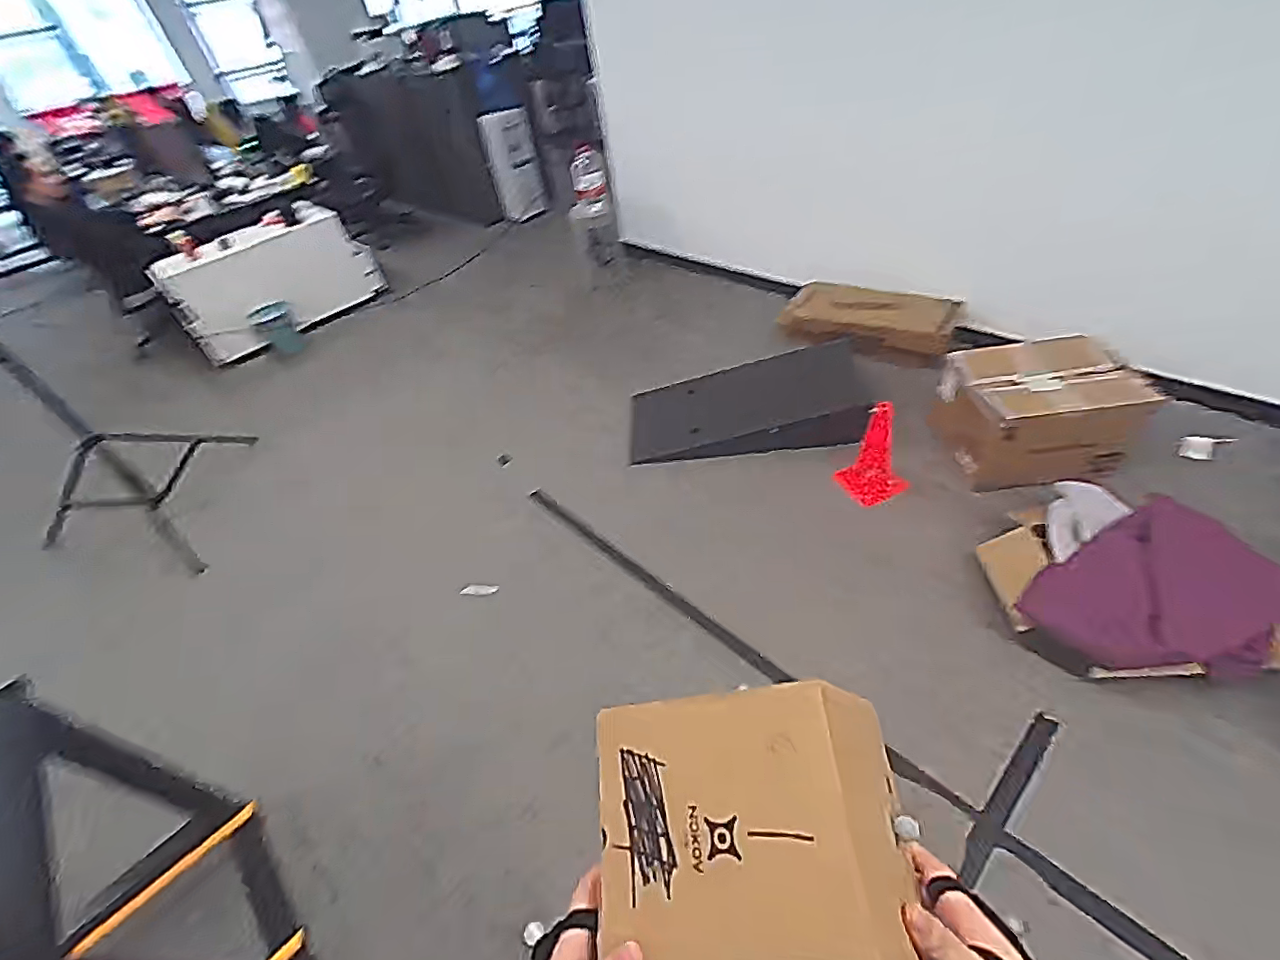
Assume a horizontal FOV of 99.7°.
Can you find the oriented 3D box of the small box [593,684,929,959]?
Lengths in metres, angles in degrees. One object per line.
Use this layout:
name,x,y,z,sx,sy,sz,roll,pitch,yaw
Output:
small box,0.084,0.256,0.394,0.179,0.176,0.168,-21,56,25
